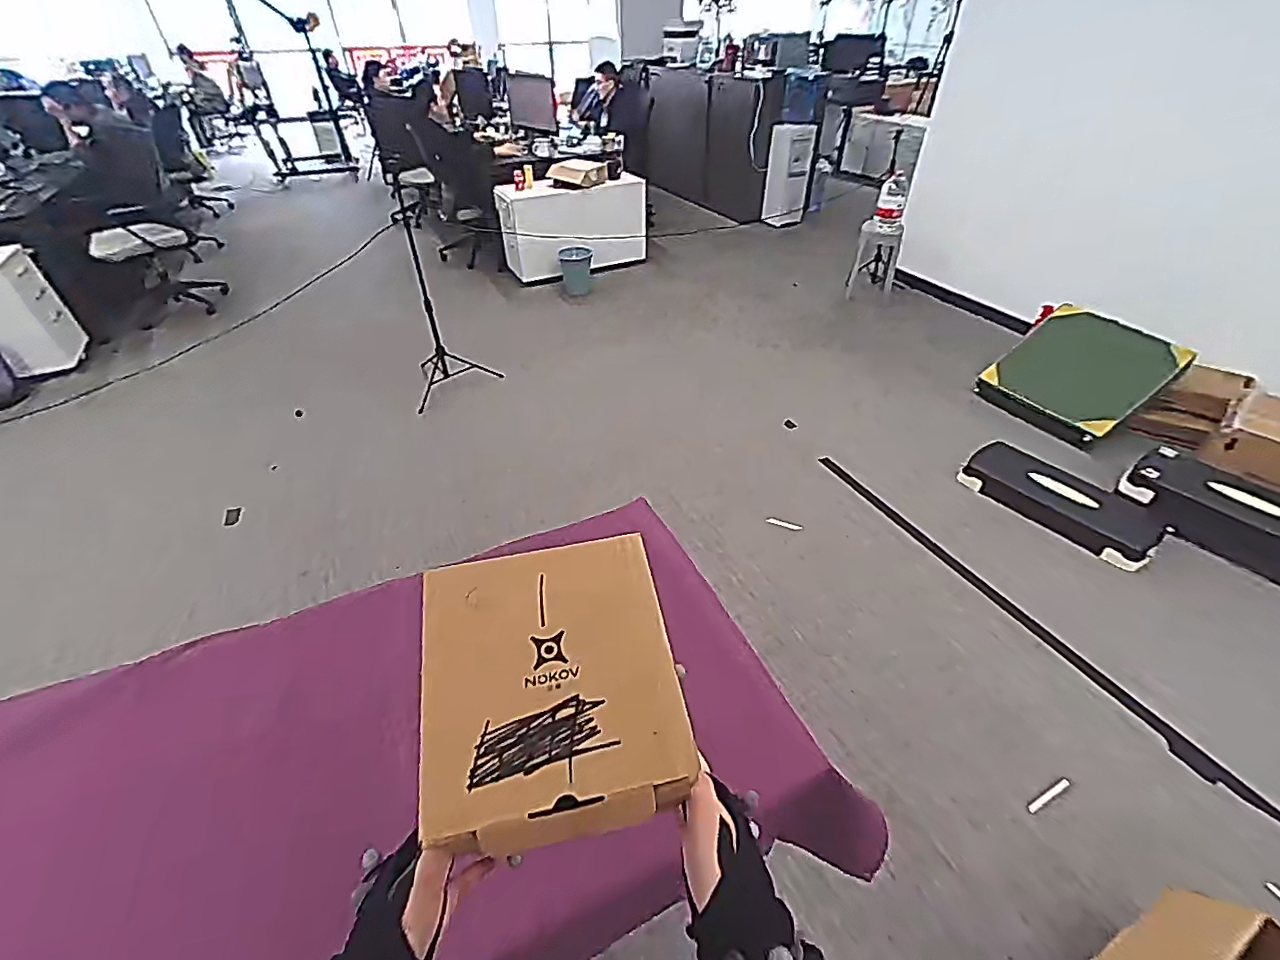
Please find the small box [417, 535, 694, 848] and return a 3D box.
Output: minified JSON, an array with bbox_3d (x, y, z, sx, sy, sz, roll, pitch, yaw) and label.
[{"bbox_3d":[-0.063,0.169,0.423,0.168,0.176,0.179,-8,54,-9],"label":"small box"}]
